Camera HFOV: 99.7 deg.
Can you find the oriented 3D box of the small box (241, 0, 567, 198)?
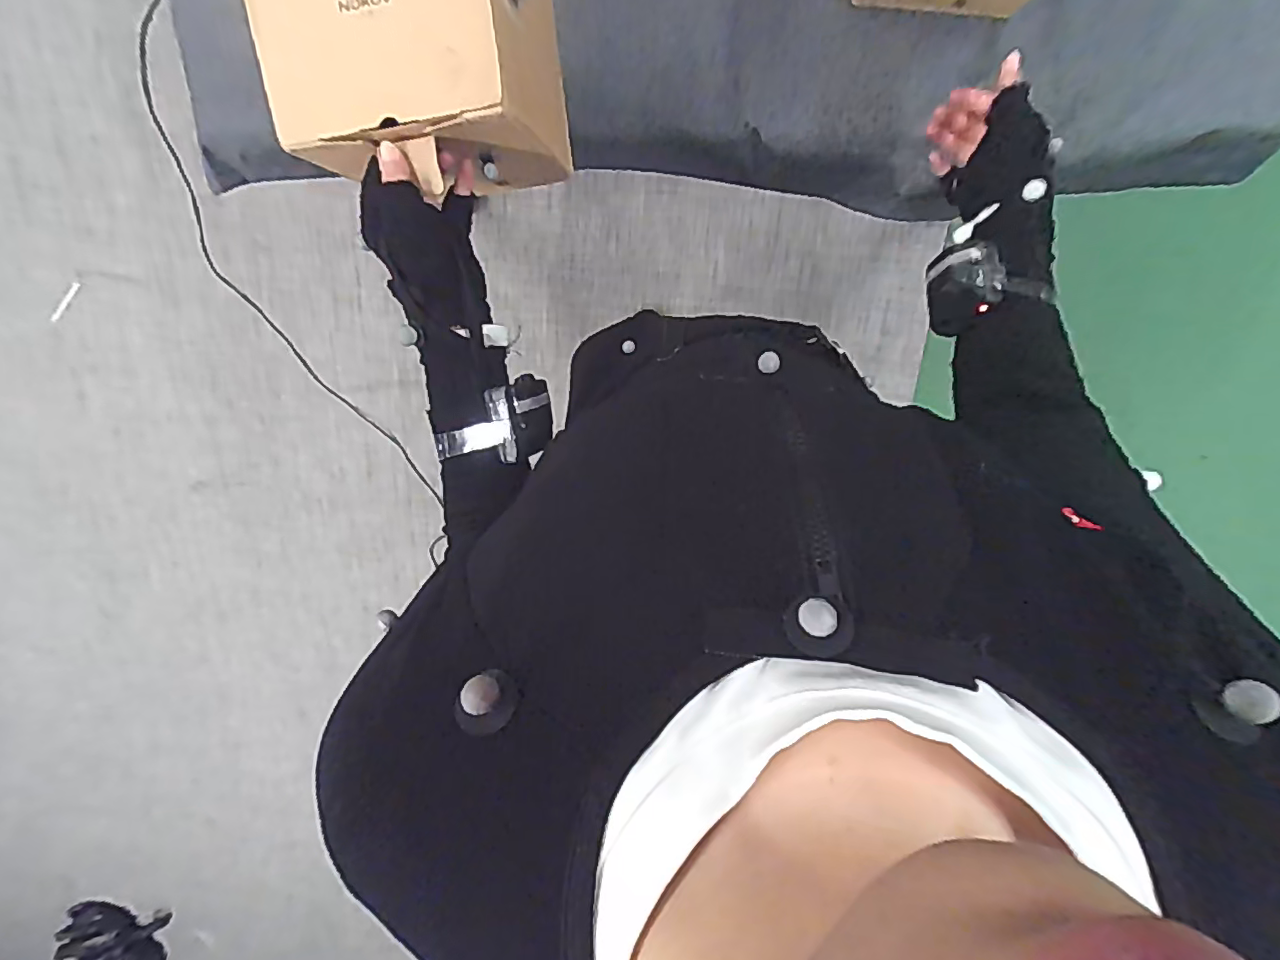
[{"bbox_3d":[-0.162,-0.330,0.409,0.168,0.176,0.179,-5,103,9],"label":"small box"}]
